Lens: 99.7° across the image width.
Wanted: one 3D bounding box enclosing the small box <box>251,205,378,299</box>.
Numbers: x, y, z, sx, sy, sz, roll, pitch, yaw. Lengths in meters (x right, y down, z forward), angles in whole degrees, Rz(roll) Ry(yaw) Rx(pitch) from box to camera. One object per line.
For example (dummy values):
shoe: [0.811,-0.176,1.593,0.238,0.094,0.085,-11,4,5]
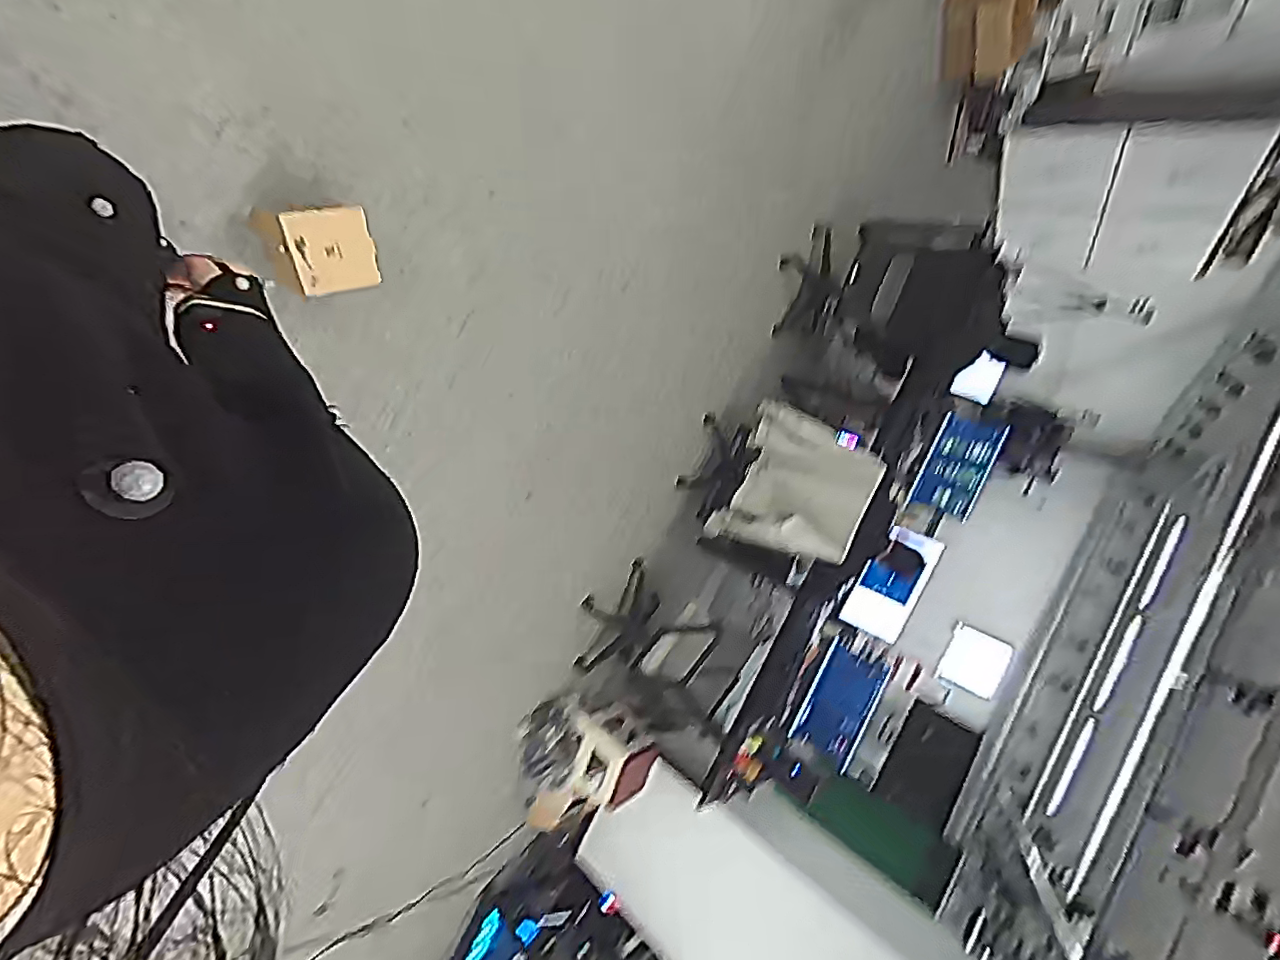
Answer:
small box: [-0.739,-0.526,1.235,0.179,0.176,0.168,-32,134,-39]
